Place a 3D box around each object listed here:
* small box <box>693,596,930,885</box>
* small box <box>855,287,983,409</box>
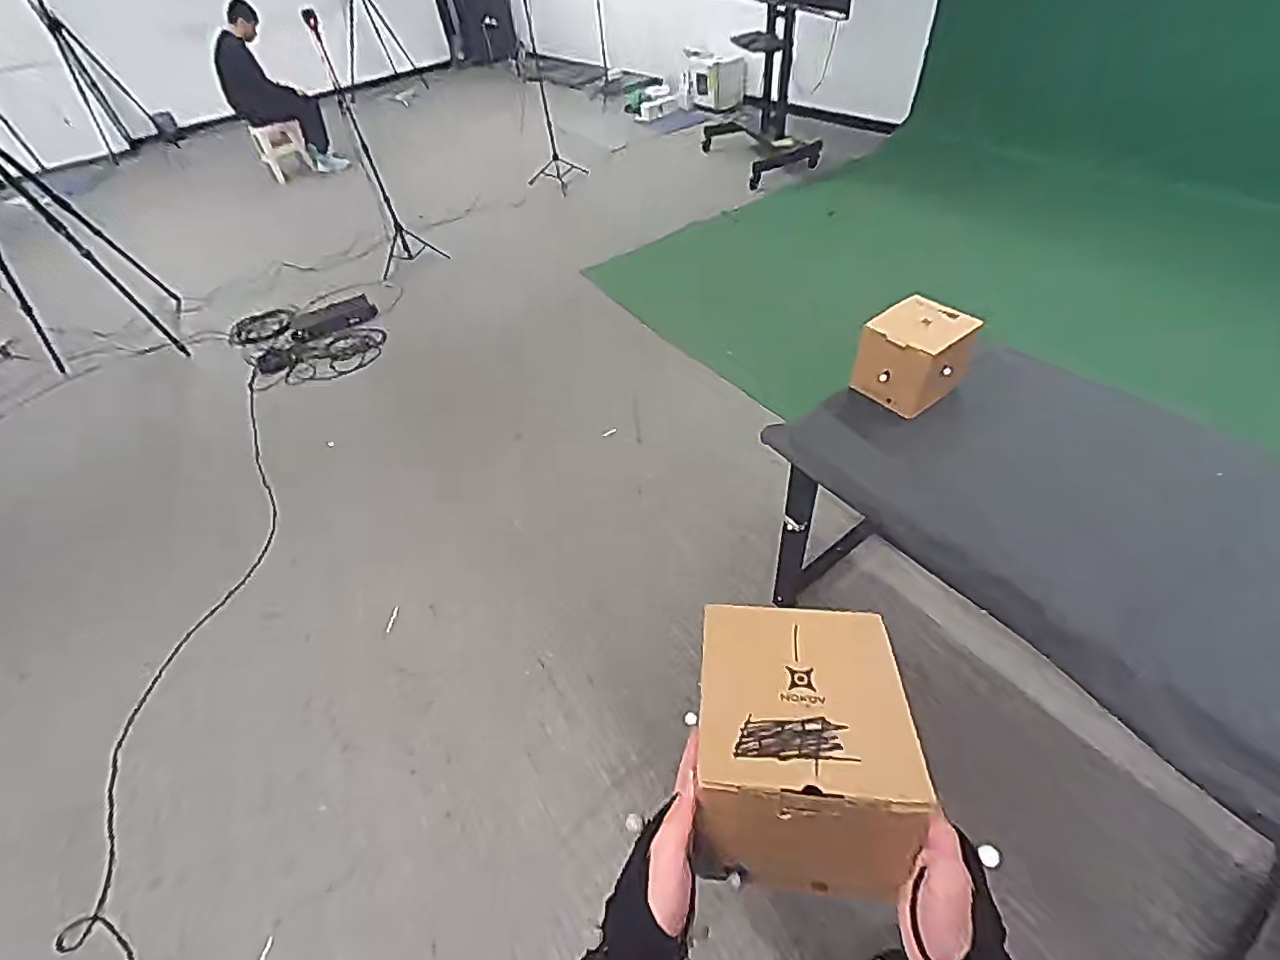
[{"bbox_3d":[0.137,0.232,0.492,0.168,0.176,0.179,2,34,9],"label":"small box"},{"bbox_3d":[0.595,-0.284,1.178,0.179,0.176,0.168,-33,54,-19],"label":"small box"}]
